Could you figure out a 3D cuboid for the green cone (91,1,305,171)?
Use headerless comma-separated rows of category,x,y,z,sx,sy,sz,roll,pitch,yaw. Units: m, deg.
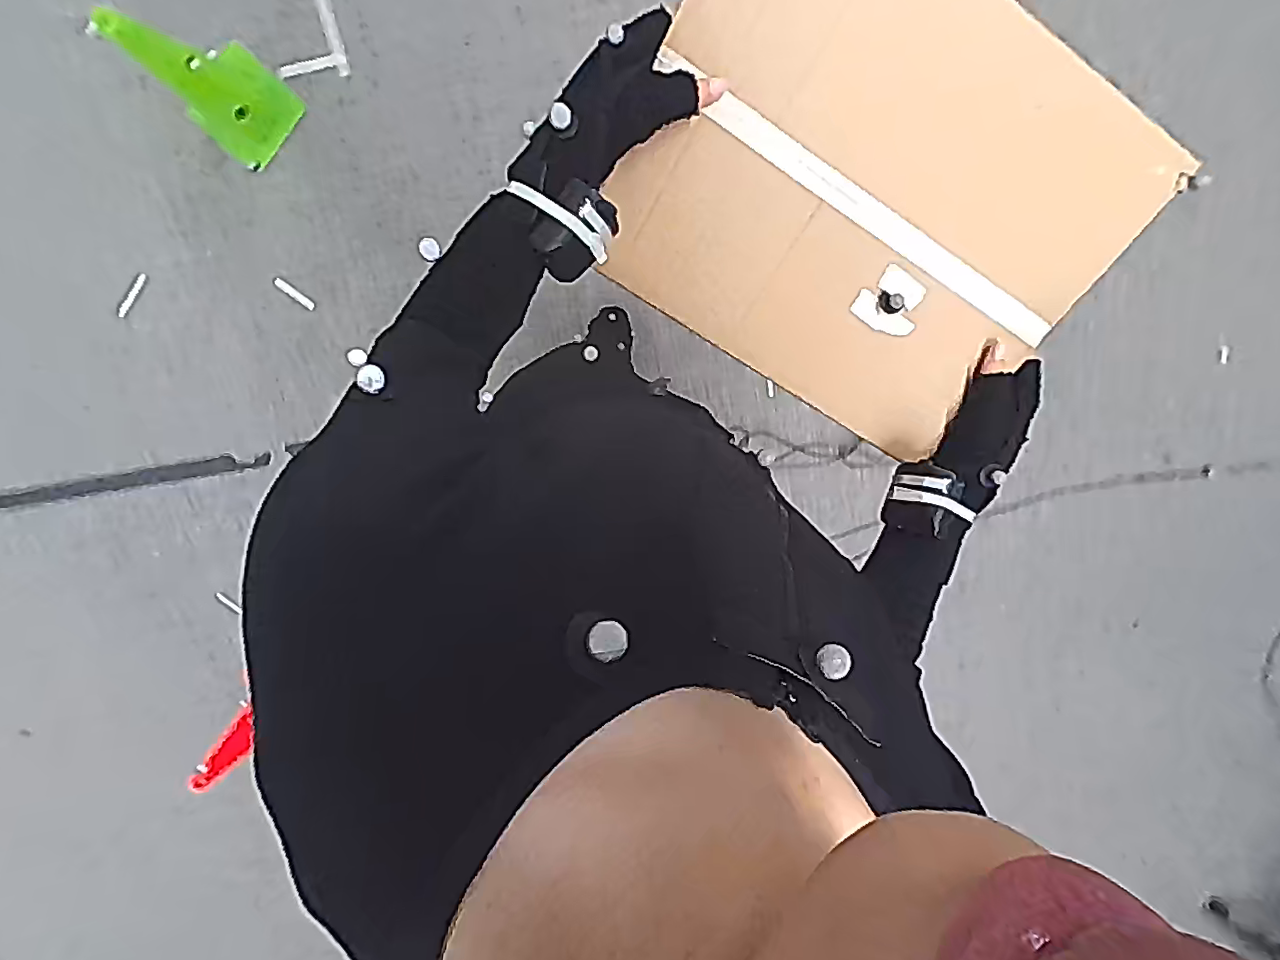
green cone,-0.898,-0.816,1.078,0.202,0.368,0.200,42,98,-9

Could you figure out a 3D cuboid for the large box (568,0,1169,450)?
large box,0.182,-0.298,0.588,0.408,0.320,0.320,28,114,-11
